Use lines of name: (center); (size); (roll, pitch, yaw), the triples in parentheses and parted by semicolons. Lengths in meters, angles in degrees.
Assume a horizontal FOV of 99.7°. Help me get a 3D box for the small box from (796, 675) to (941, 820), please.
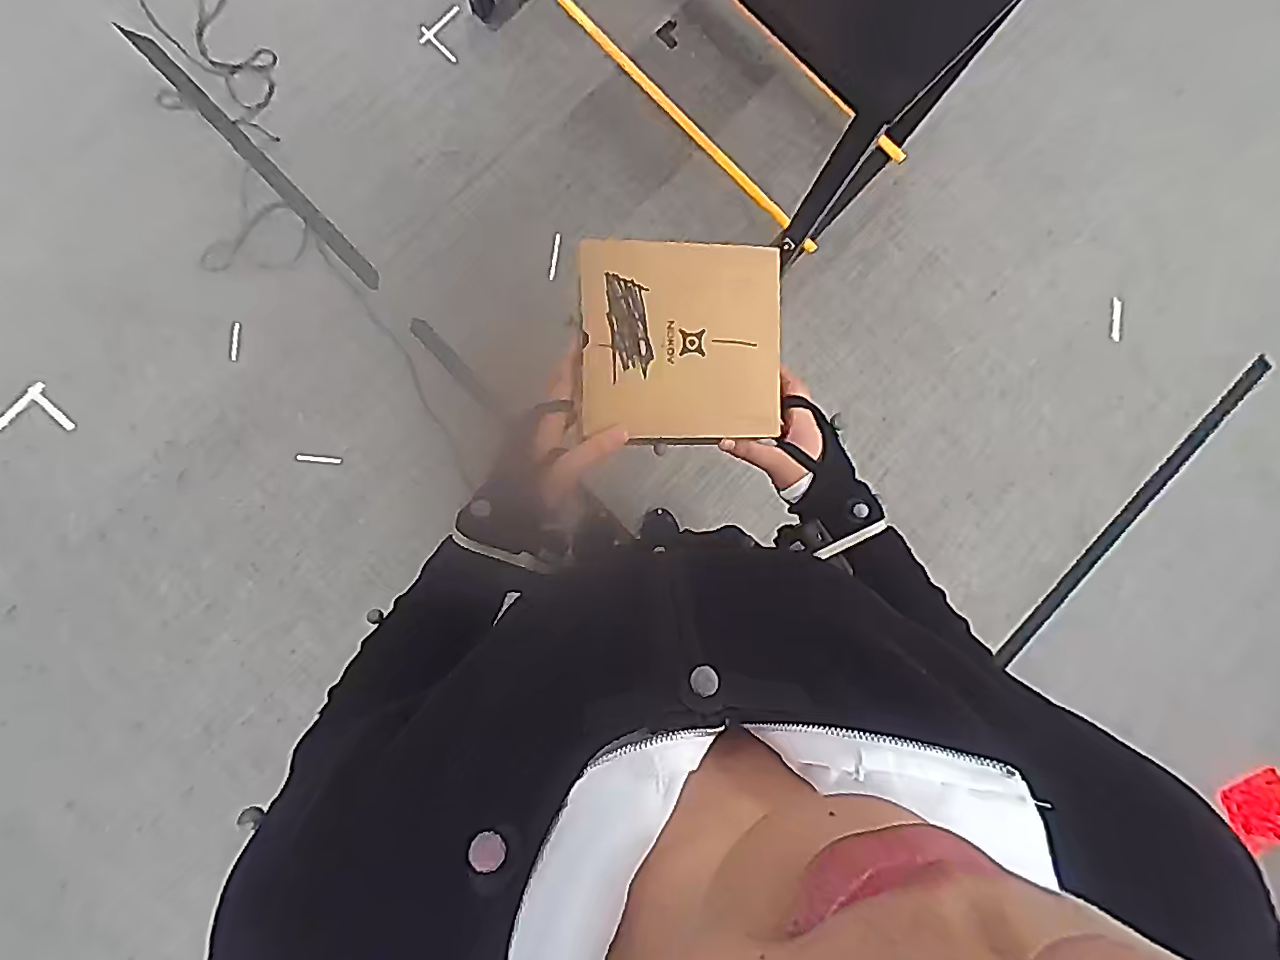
small box: (0.453, 0.529, 1.099); (0.179, 0.176, 0.168); (42, 85, 0)

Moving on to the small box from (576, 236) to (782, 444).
small box: (0.025, -0.121, 0.534); (0.179, 0.176, 0.168); (-1, 92, -9)
